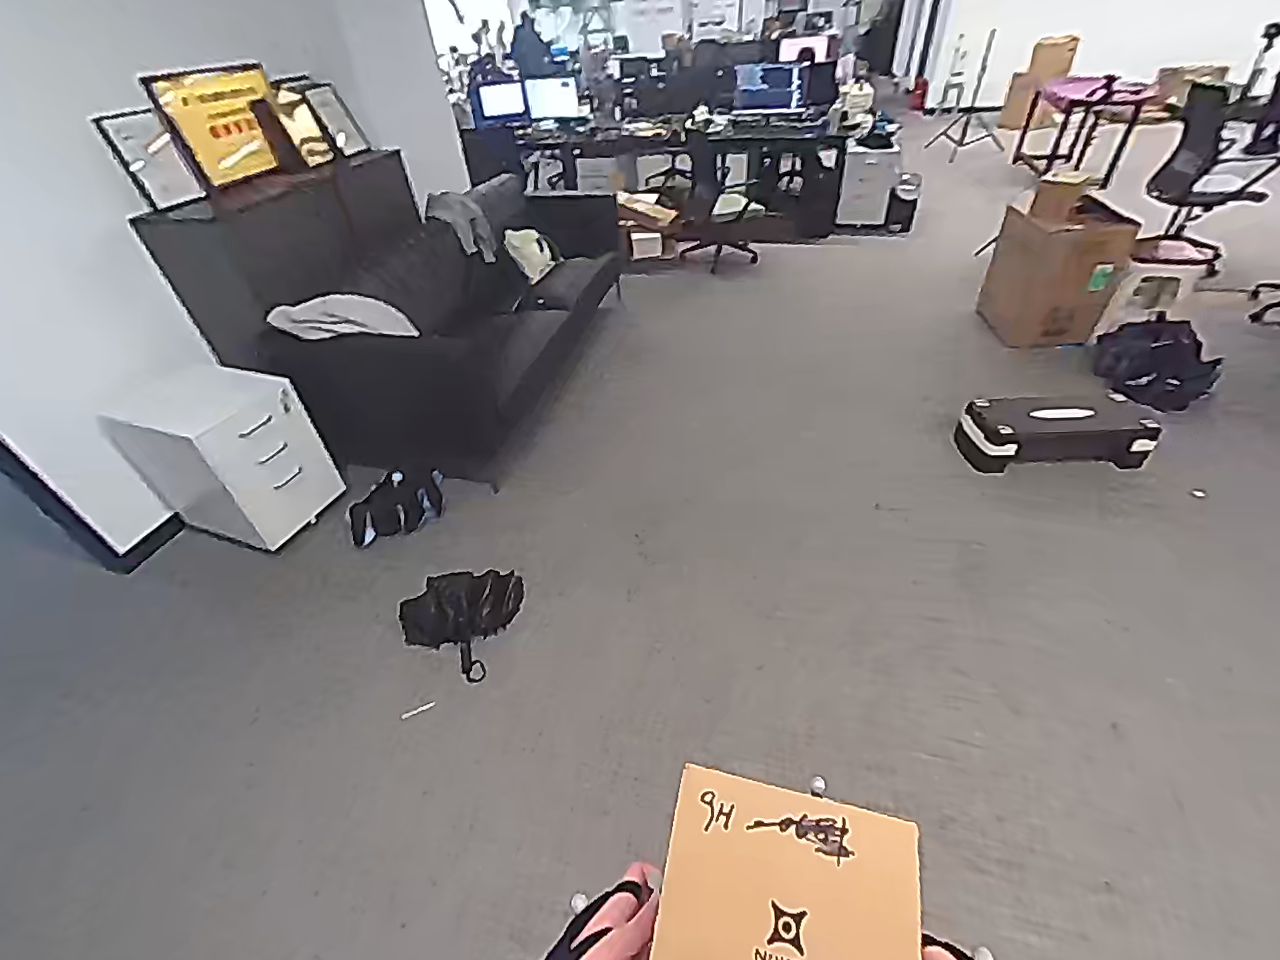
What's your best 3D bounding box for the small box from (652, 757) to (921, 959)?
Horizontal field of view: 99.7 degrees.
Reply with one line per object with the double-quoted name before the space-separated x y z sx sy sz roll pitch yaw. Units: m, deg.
"small box" 0.103 0.335 0.421 0.168 0.176 0.179 9 61 11
